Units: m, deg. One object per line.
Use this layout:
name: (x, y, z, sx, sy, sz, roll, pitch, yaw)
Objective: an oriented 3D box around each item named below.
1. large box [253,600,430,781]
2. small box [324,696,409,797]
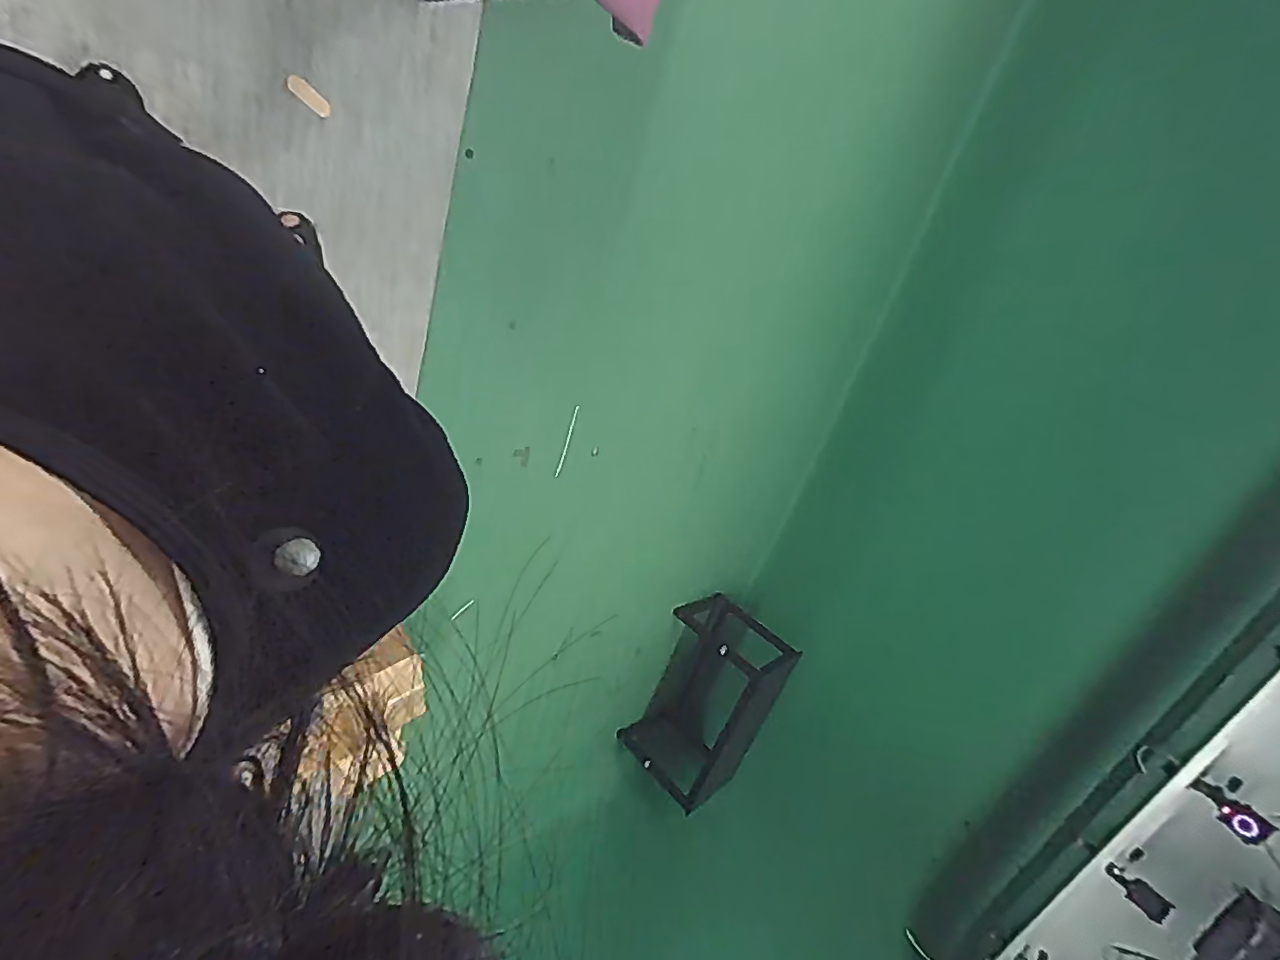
large box: (-0.966, 0.668, 1.779, 0.408, 0.320, 0.320, -22, 134, -40)
small box: (-0.818, 0.790, 1.621, 0.179, 0.176, 0.168, -18, 128, -41)
